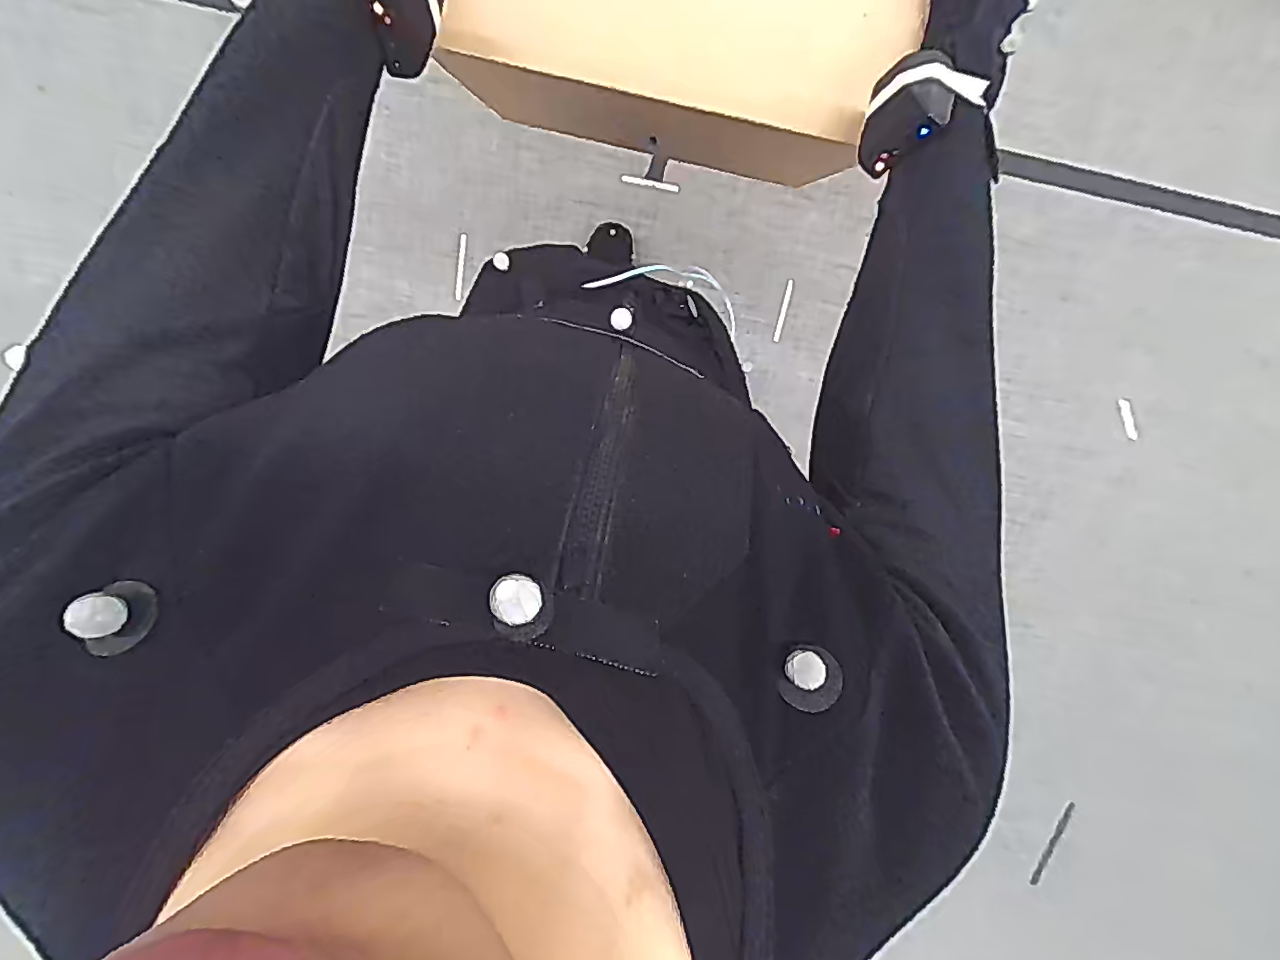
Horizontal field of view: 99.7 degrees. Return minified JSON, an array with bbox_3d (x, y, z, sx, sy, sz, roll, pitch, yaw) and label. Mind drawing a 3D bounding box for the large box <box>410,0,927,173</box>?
[{"bbox_3d":[0.045,-0.520,0.519,0.408,0.320,0.320,12,112,-4],"label":"large box"}]
